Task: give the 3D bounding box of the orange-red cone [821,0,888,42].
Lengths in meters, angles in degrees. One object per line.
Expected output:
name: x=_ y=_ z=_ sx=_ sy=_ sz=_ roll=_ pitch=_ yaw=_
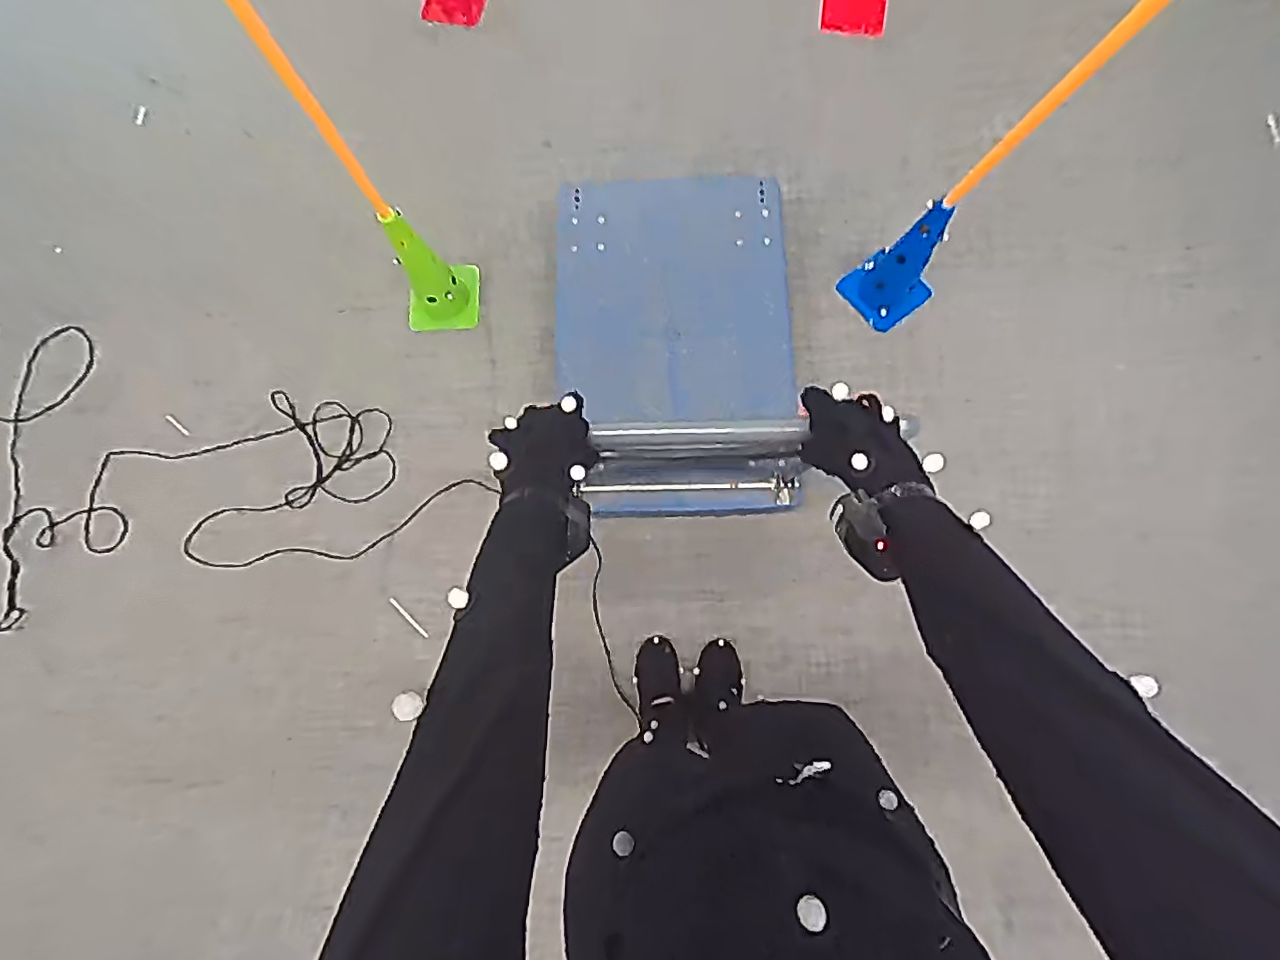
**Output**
orange-red cone: x=0.676 y=-1.518 z=1.559 sx=0.198 sy=0.360 sz=0.199 roll=10 pitch=79 yaw=5
